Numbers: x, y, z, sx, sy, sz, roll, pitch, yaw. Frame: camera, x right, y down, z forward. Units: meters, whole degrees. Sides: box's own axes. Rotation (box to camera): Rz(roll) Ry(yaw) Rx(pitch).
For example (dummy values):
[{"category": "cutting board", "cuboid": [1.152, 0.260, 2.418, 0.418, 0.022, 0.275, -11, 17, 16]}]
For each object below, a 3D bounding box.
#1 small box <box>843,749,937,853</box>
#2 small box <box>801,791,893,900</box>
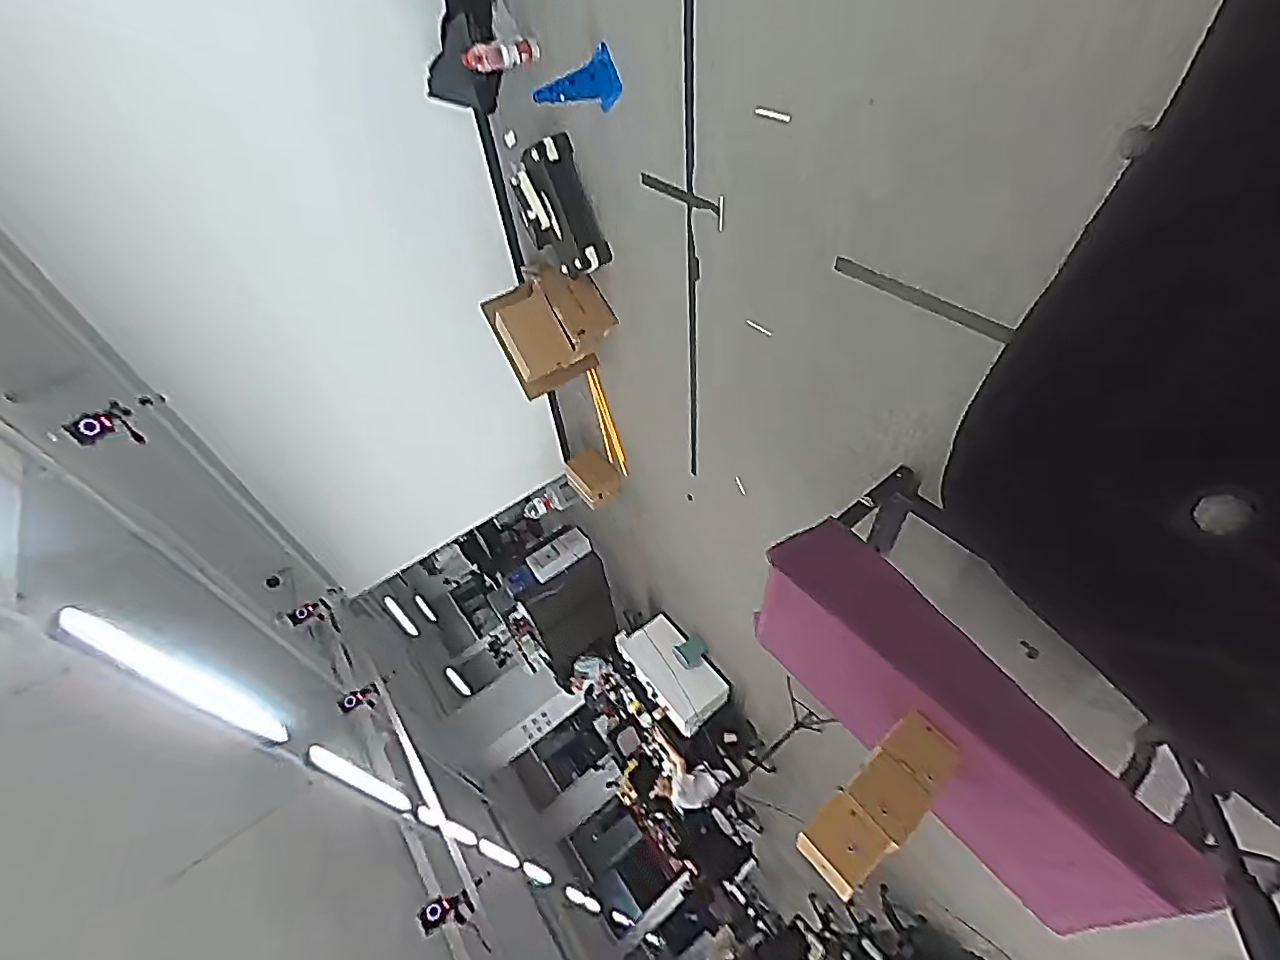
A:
[{"category": "small box", "cuboid": [0.691, 0.901, 1.519, 0.179, 0.176, 0.168, 43, 155, 32]}, {"category": "small box", "cuboid": [0.562, 0.992, 1.476, 0.168, 0.176, 0.179, 38, 153, 39]}]
